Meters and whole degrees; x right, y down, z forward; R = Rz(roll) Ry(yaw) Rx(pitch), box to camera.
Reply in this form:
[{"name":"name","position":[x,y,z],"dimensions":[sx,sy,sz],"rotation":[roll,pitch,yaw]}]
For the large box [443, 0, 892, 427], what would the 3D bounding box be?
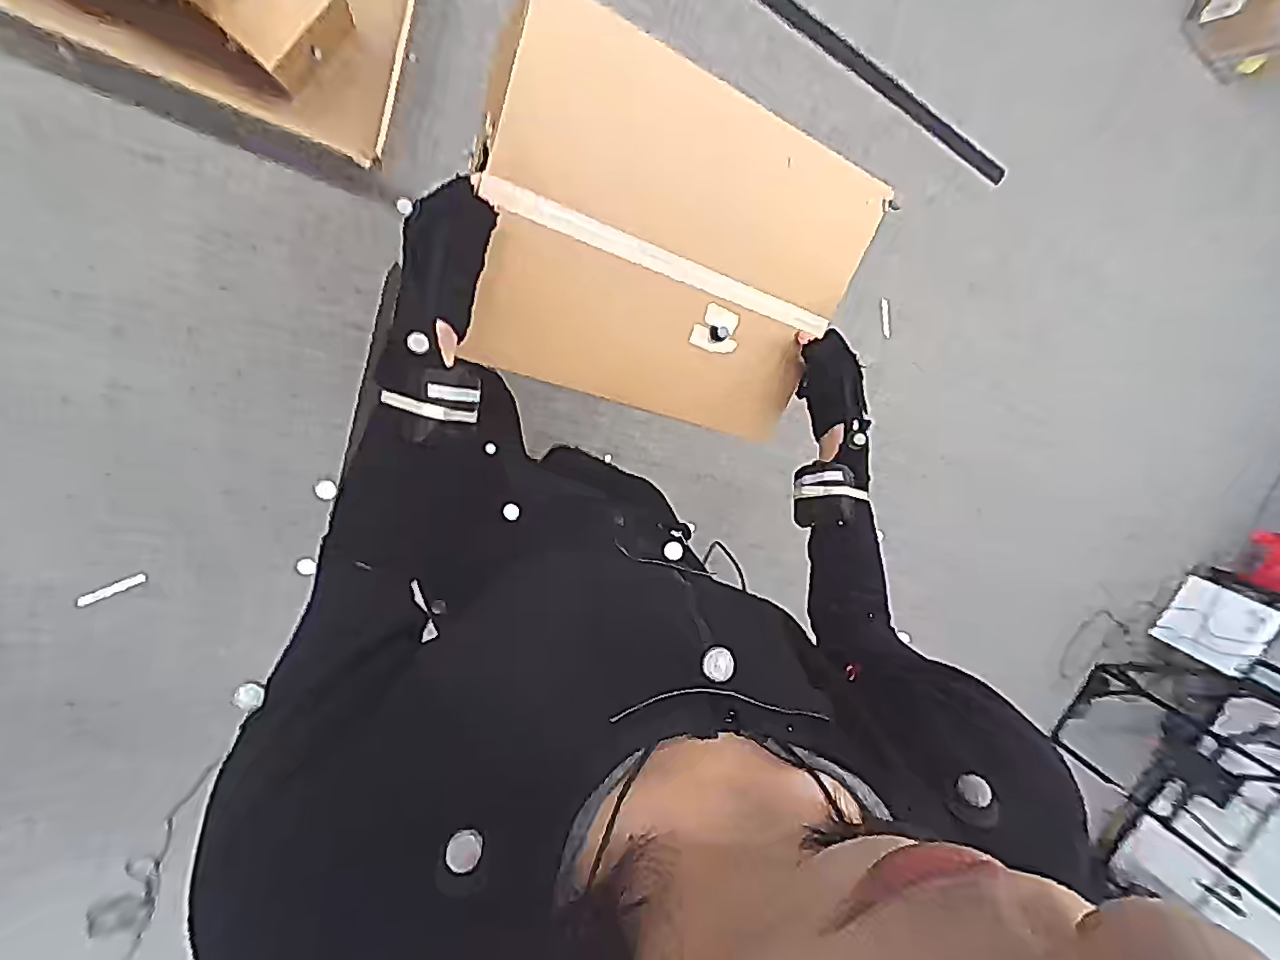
[{"name":"large box","position":[-0.005,-0.301,0.667],"dimensions":[0.408,0.320,0.320],"rotation":[12,116,-26]}]
